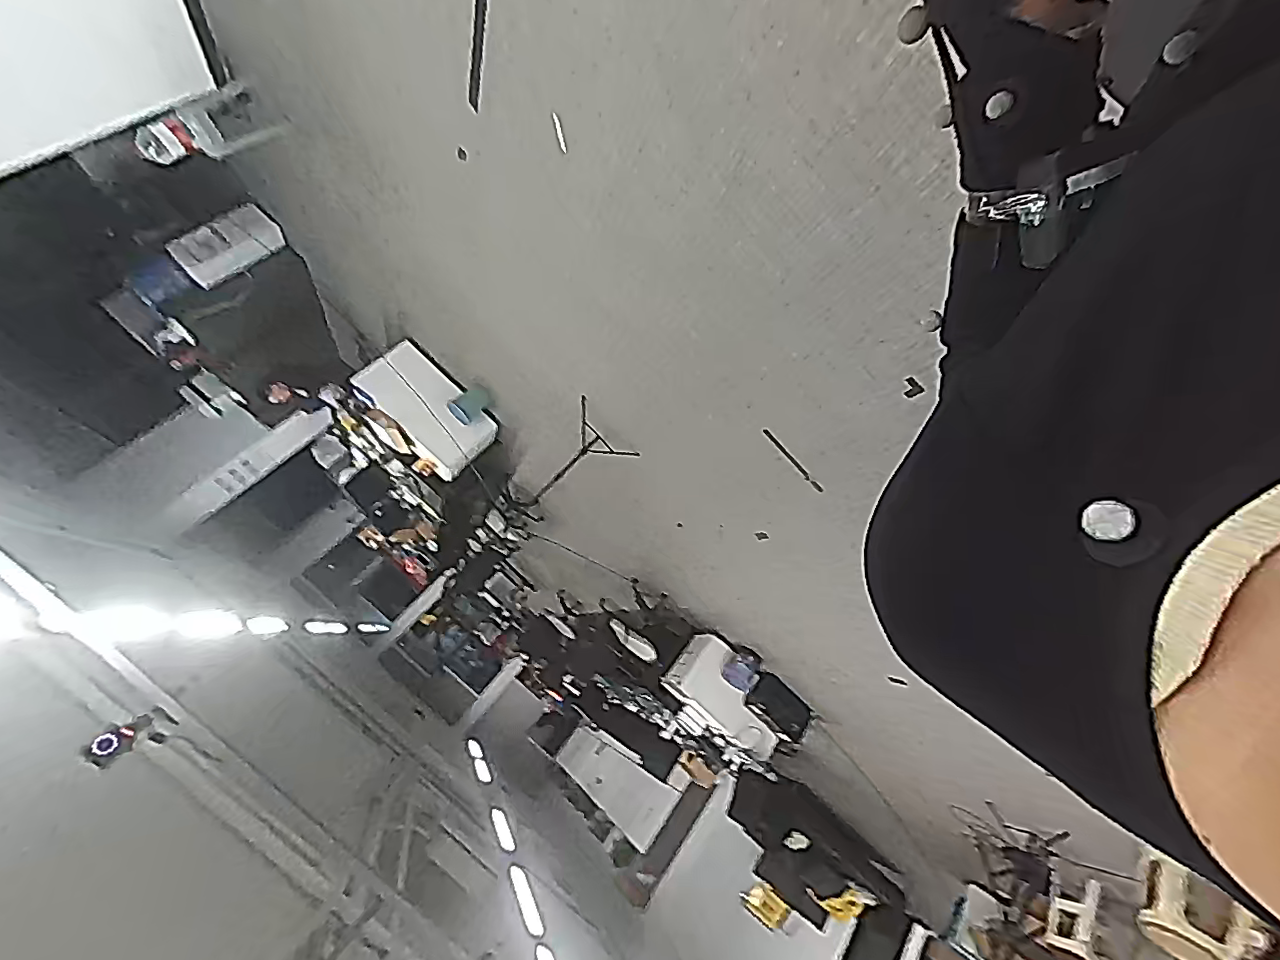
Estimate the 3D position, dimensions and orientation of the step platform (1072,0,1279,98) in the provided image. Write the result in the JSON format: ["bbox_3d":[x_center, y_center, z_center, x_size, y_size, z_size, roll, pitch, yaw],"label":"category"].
[{"bbox_3d":[0.952,-0.851,0.656,0.286,0.204,0.684,46,154,-10],"label":"step platform"}]
